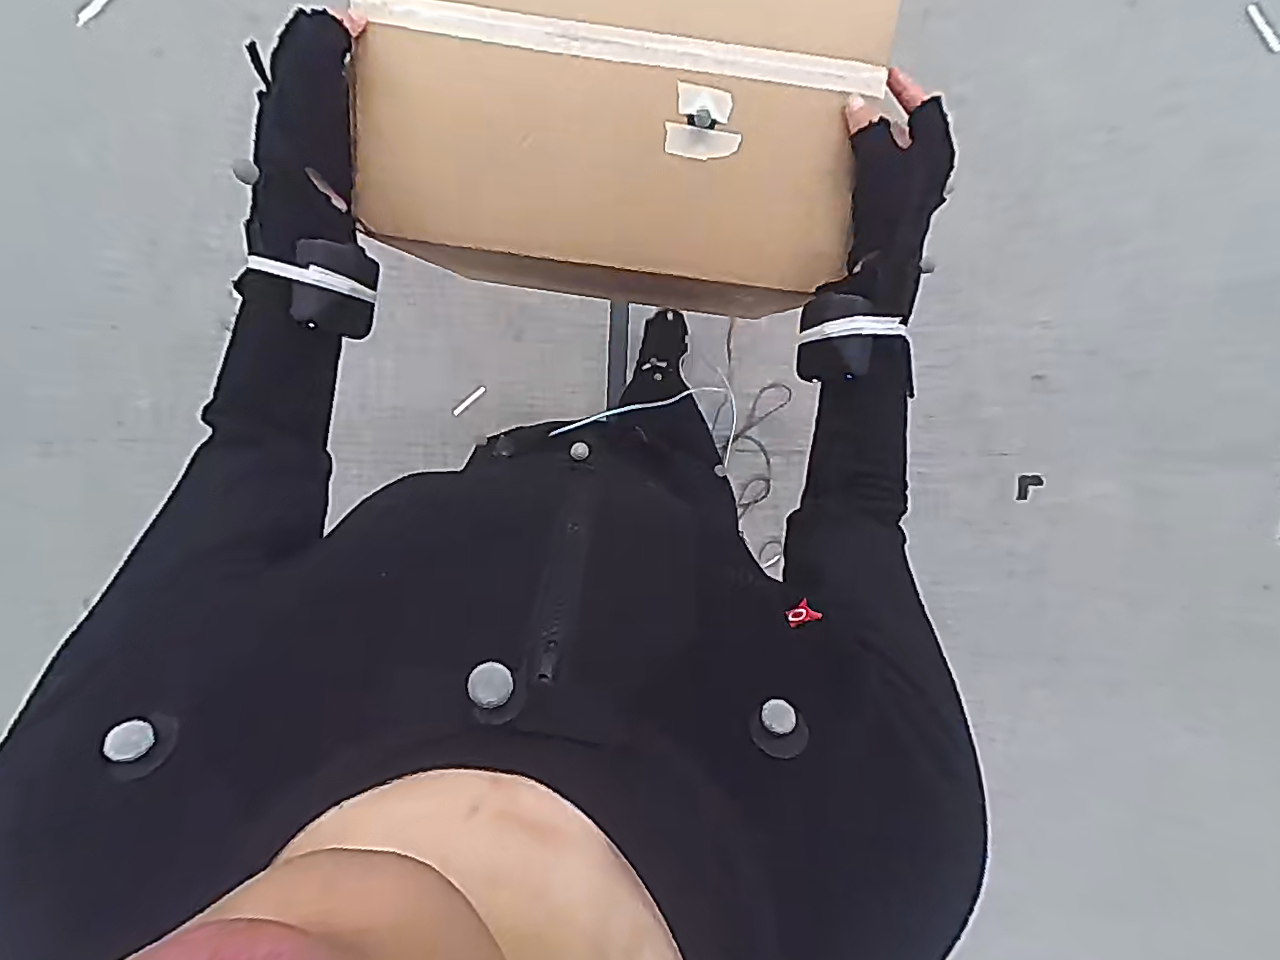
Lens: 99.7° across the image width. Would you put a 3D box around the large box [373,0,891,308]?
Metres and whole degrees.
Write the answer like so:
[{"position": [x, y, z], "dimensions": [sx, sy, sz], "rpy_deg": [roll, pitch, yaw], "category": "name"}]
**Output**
[{"position": [-0.013, -0.374, 0.570], "dimensions": [0.408, 0.320, 0.320], "rpy_deg": [7, 104, -3], "category": "large box"}]
